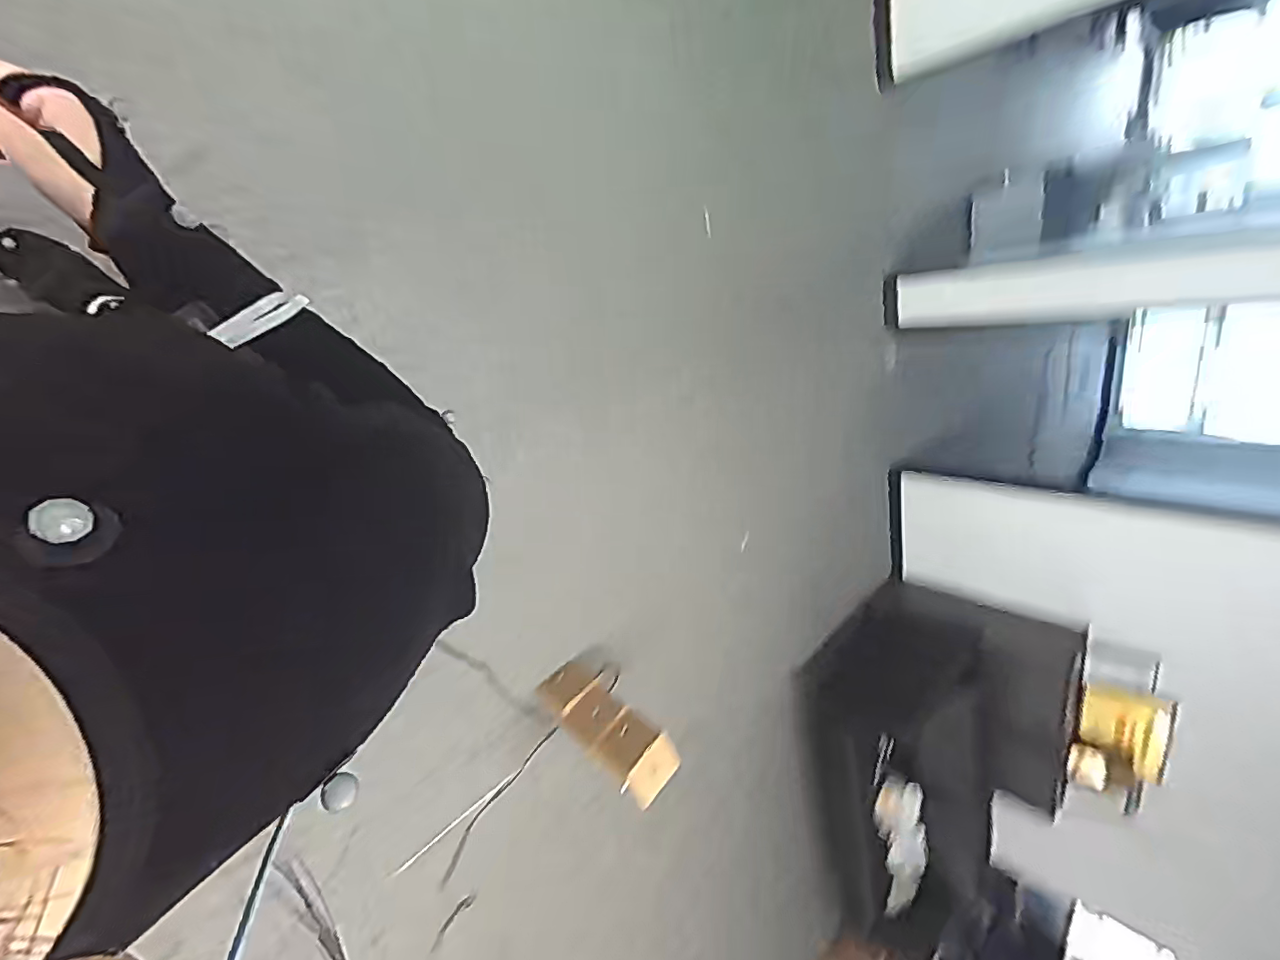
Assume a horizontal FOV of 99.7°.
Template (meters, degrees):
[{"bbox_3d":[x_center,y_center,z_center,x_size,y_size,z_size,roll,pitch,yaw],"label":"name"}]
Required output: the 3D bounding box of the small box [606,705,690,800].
[{"bbox_3d":[0.023,0.848,1.699,0.168,0.176,0.179,-39,122,-28],"label":"small box"}]

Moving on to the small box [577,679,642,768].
[{"bbox_3d":[-0.088,0.810,1.813,0.179,0.176,0.168,-43,124,-27],"label":"small box"}]
